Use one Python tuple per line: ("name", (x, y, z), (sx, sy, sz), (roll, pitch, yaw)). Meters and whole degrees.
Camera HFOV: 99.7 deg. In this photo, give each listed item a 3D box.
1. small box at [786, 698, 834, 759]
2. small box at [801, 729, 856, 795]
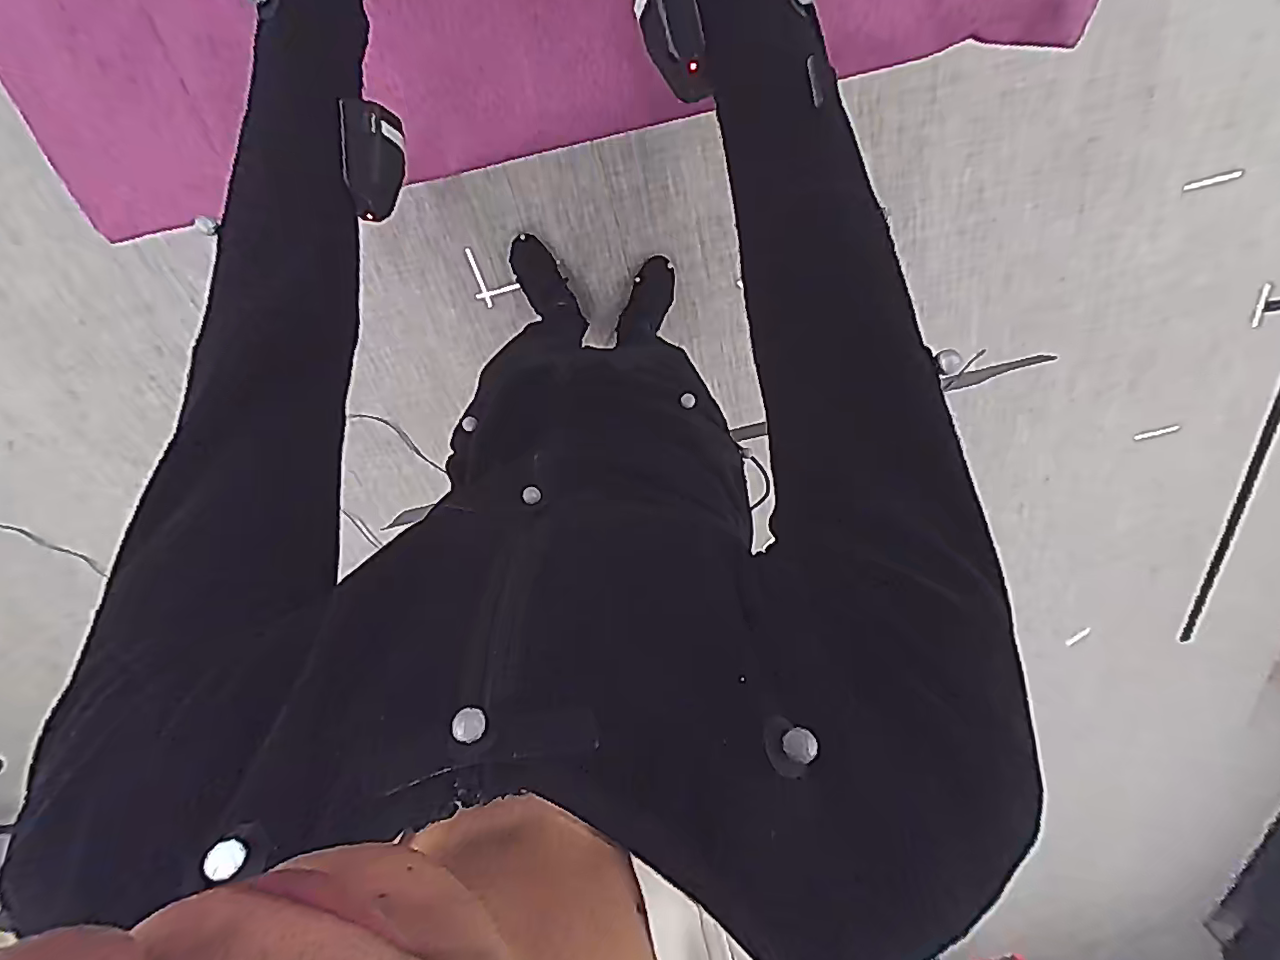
("small box", (0.783, 1.126, 2.457), (0.168, 0.176, 0.179), (-20, 120, 5))
("small box", (0.806, 1.203, 2.314), (0.168, 0.176, 0.179), (-19, 120, 4))
